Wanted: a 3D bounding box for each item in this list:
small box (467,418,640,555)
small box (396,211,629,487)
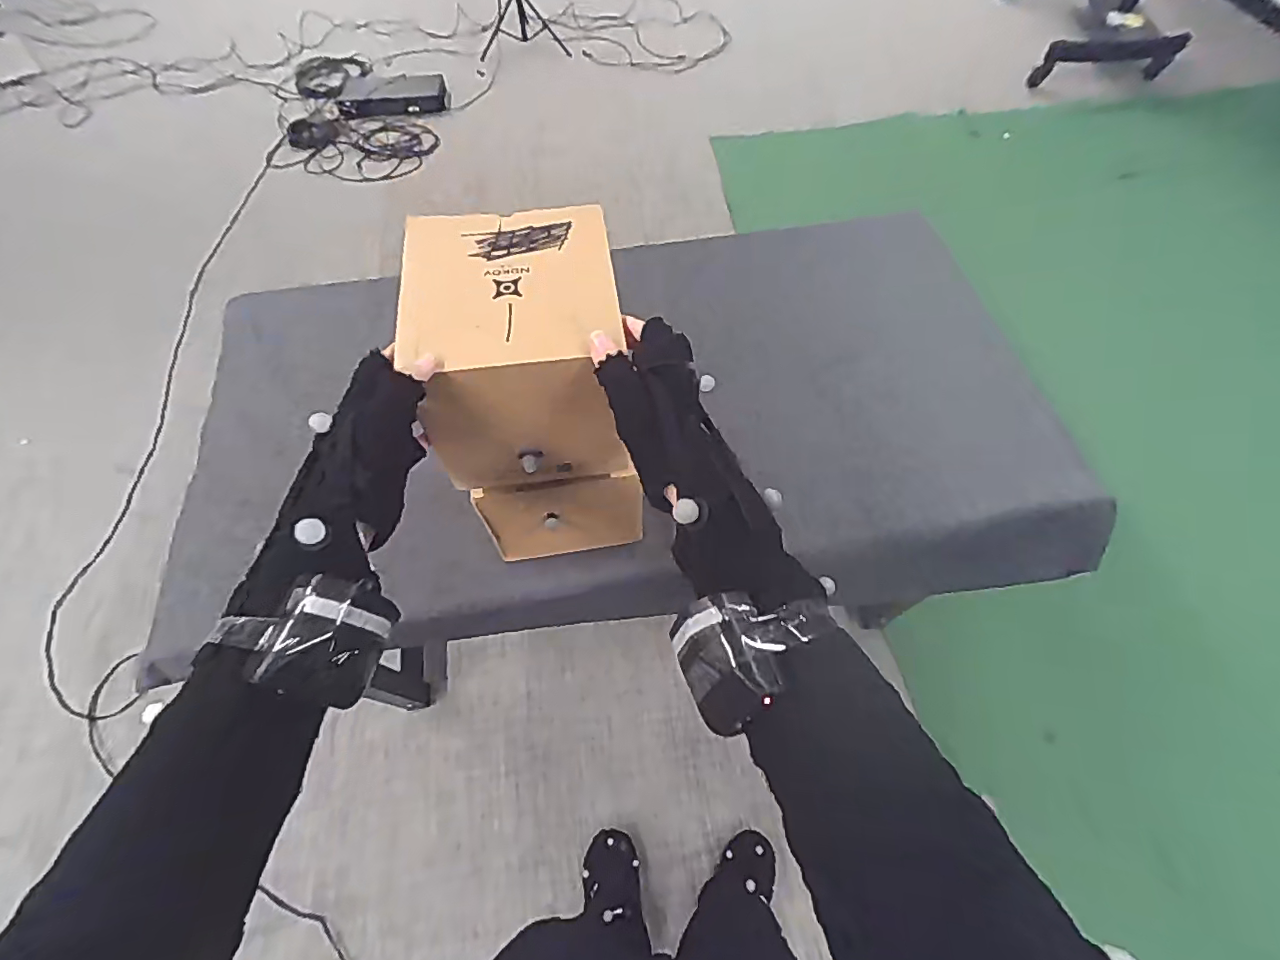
[{"bbox_3d":[-0.098,-0.020,0.656,0.179,0.176,0.168,-8,60,-4],"label":"small box"},{"bbox_3d":[-0.101,-0.114,0.494,0.168,0.176,0.179,-6,61,-4],"label":"small box"}]
